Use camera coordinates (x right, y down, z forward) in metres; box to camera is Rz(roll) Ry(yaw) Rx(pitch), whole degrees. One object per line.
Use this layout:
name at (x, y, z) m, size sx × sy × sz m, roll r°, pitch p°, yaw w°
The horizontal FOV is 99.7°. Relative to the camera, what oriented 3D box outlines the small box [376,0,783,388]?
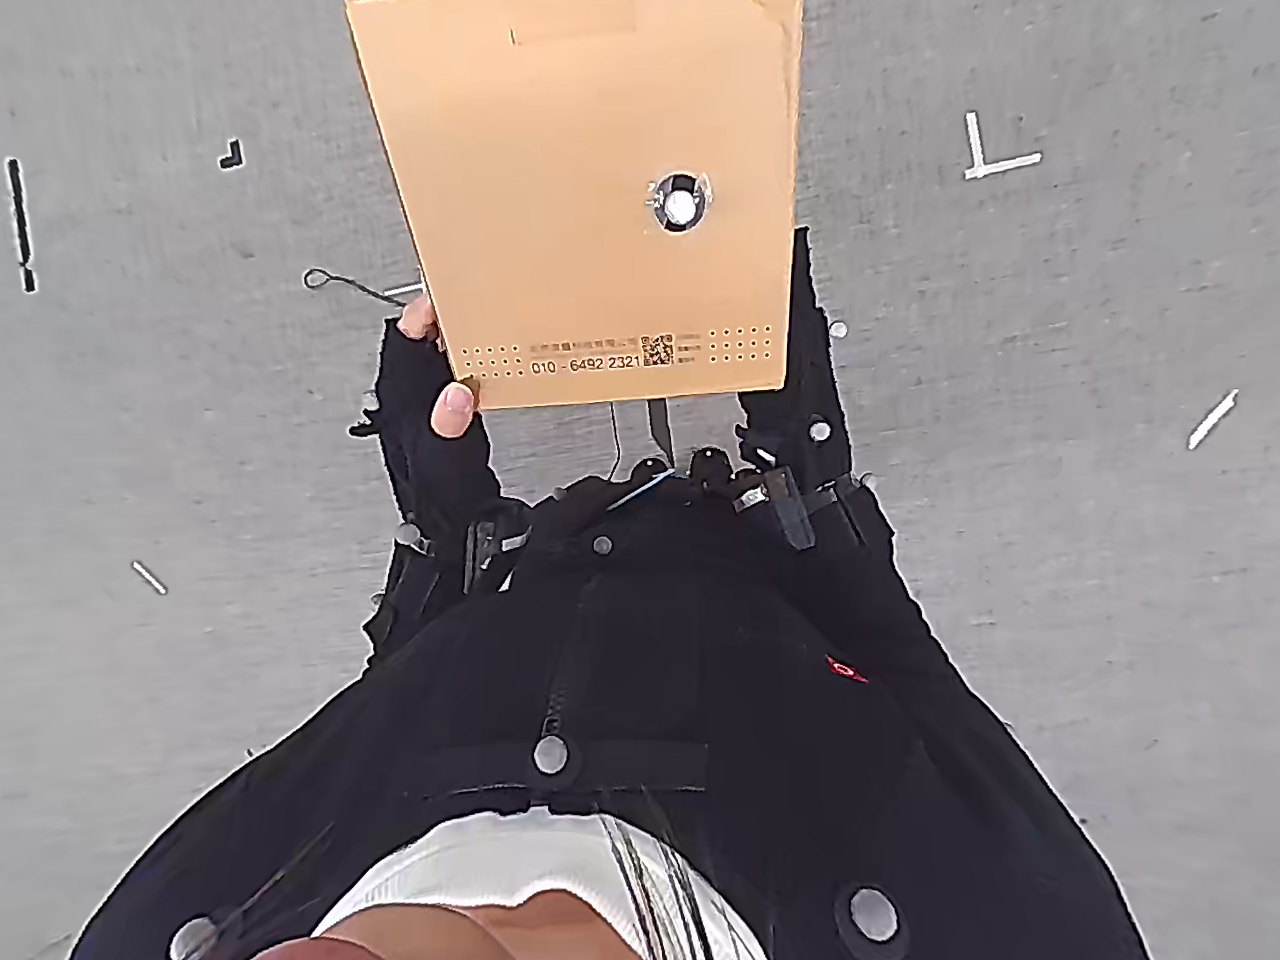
small box at (-0.011, -0.160, 0.317) m, size 0.168 × 0.179 × 0.176 m, roll -2°, pitch 124°, yaw 6°
